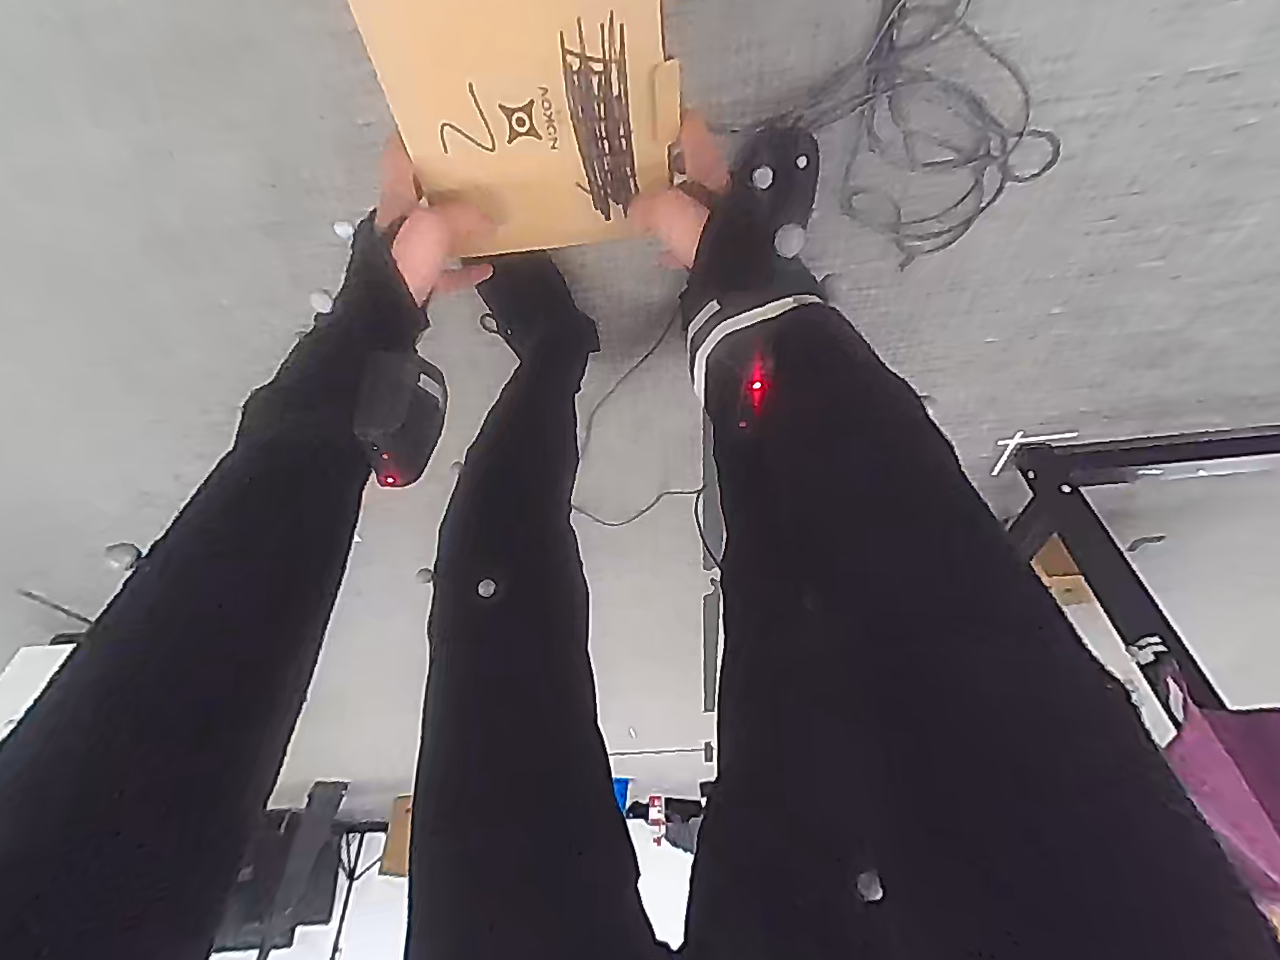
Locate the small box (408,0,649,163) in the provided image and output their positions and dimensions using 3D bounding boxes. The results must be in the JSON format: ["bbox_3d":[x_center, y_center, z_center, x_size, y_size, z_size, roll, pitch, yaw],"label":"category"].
[{"bbox_3d":[-0.087,-0.414,0.483,0.179,0.176,0.168,-6,141,5],"label":"small box"}]

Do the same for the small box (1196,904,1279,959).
[{"bbox_3d":[0.973,0.705,0.759,0.179,0.176,0.168,-5,141,4],"label":"small box"}]
